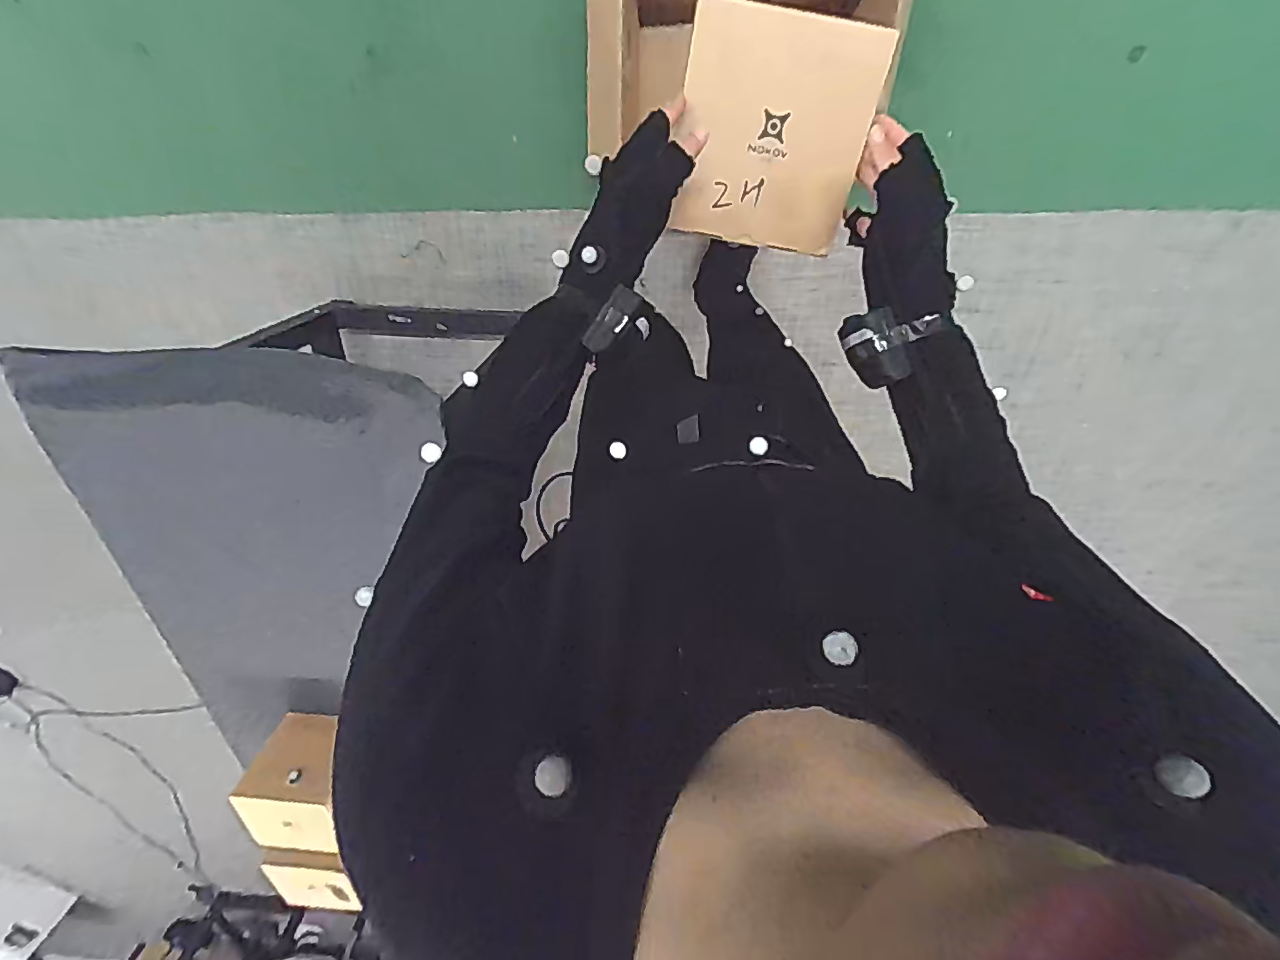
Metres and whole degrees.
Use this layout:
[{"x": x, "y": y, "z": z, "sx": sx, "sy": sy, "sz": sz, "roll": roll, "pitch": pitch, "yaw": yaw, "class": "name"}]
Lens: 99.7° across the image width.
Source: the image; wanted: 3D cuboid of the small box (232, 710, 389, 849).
[{"x": -0.613, "y": 0.564, "z": 1.030, "sx": 0.179, "sy": 0.176, "sz": 0.168, "roll": 4, "pitch": 121, "yaw": 2, "class": "small box"}]

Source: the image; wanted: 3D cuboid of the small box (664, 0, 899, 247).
[{"x": 0.122, "y": -0.349, "z": 0.541, "sx": 0.168, "sy": 0.176, "sz": 0.179, "roll": 11, "pitch": 121, "yaw": 0, "class": "small box"}]

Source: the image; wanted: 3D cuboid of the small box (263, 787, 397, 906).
[{"x": -0.642, "y": 0.768, "z": 1.152, "sx": 0.179, "sy": 0.176, "sz": 0.168, "roll": 2, "pitch": 121, "yaw": 4, "class": "small box"}]
